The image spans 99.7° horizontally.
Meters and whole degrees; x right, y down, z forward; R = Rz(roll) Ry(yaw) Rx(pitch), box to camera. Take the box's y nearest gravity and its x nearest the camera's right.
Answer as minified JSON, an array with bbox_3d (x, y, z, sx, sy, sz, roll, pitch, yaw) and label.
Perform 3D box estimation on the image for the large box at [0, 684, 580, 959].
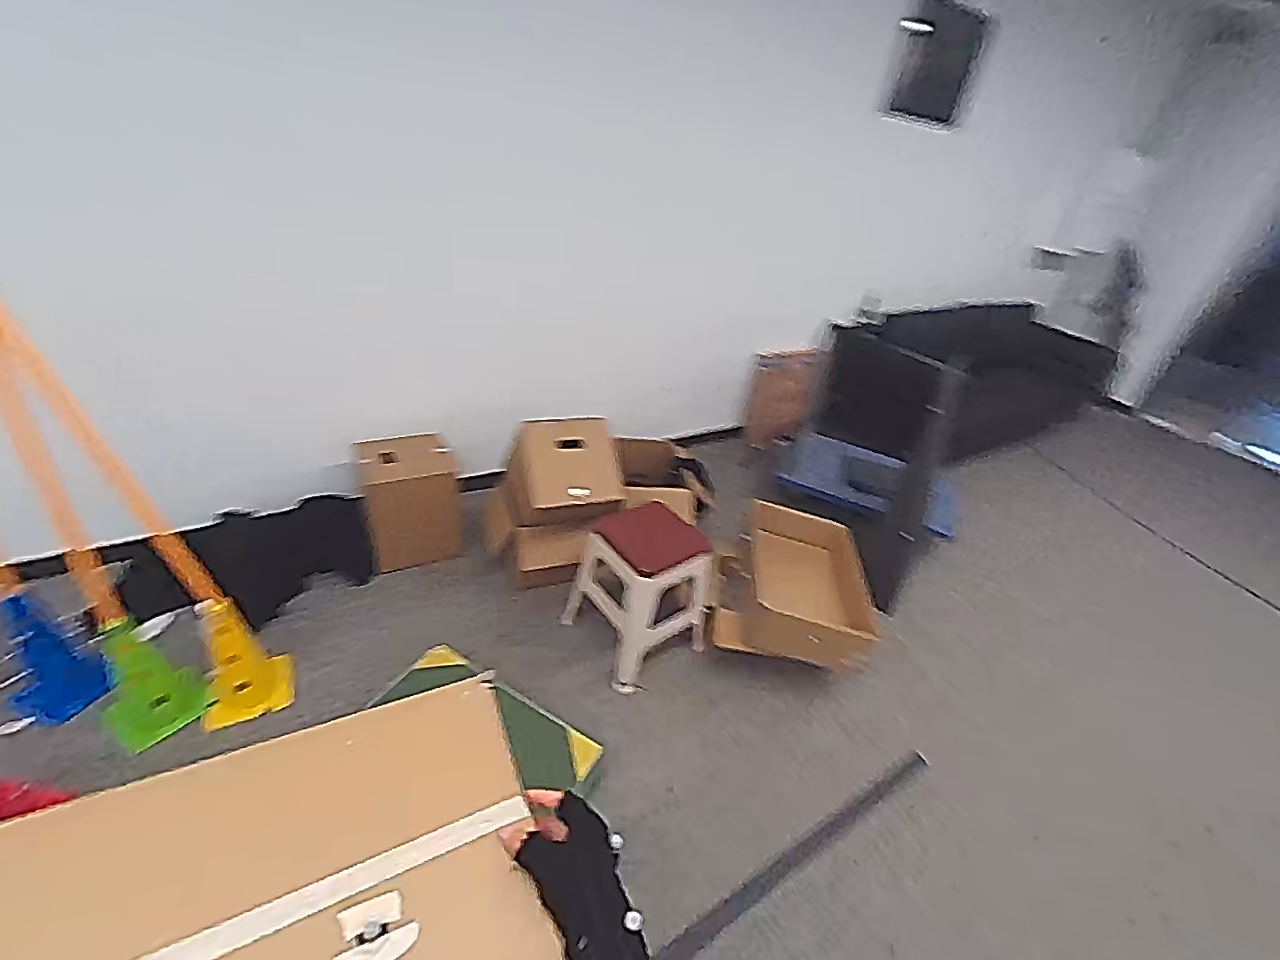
[{"bbox_3d":[-0.306,0.477,0.530,0.408,0.320,0.320,-9,40,-27],"label":"large box"}]
